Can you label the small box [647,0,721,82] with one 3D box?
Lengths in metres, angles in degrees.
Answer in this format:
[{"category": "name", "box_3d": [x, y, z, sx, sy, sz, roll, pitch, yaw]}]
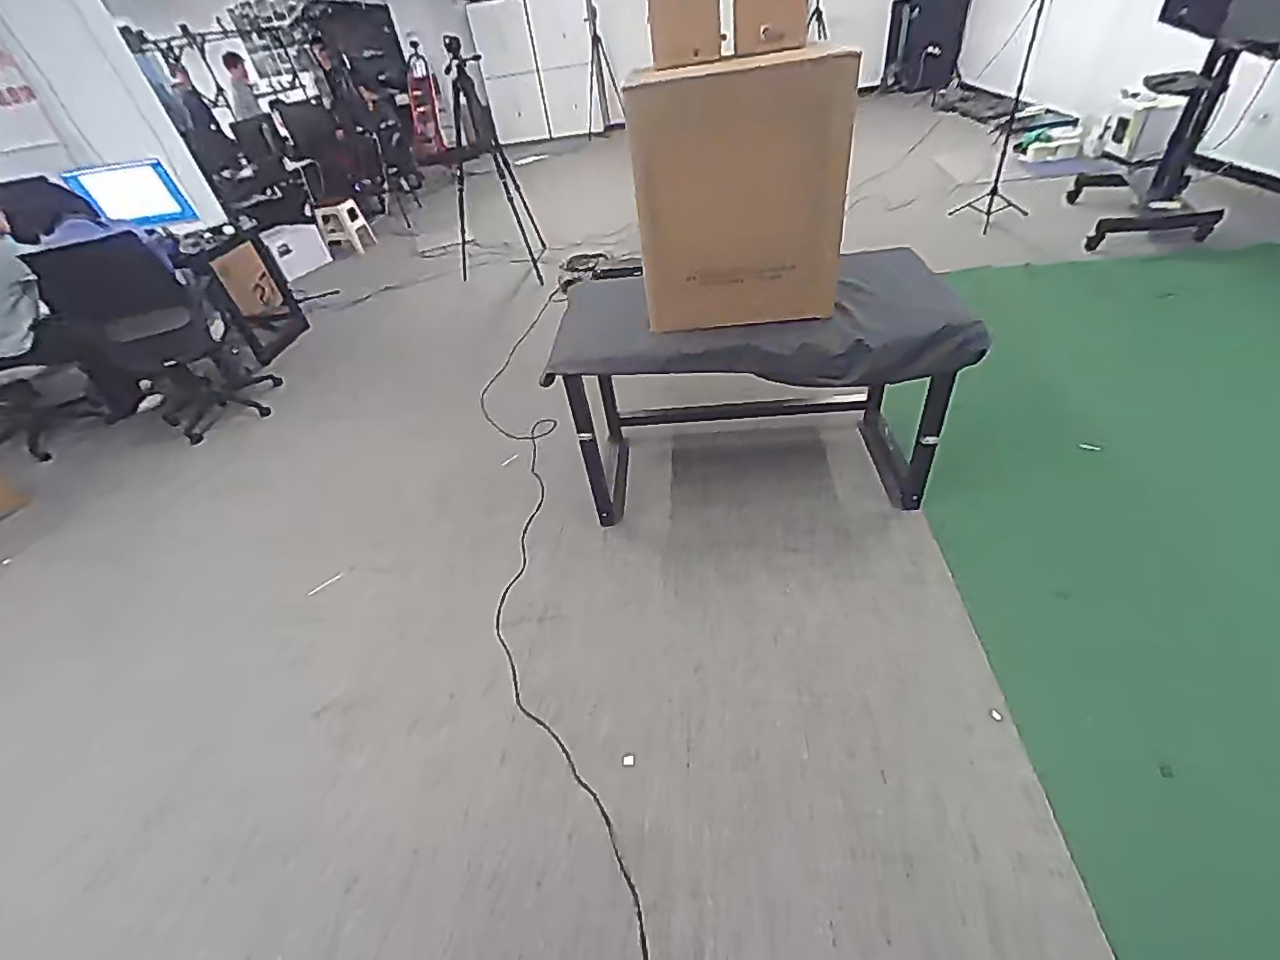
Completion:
[{"category": "small box", "box_3d": [0.114, -1.108, 1.347, 0.168, 0.176, 0.179, -4, 38, 9]}]
